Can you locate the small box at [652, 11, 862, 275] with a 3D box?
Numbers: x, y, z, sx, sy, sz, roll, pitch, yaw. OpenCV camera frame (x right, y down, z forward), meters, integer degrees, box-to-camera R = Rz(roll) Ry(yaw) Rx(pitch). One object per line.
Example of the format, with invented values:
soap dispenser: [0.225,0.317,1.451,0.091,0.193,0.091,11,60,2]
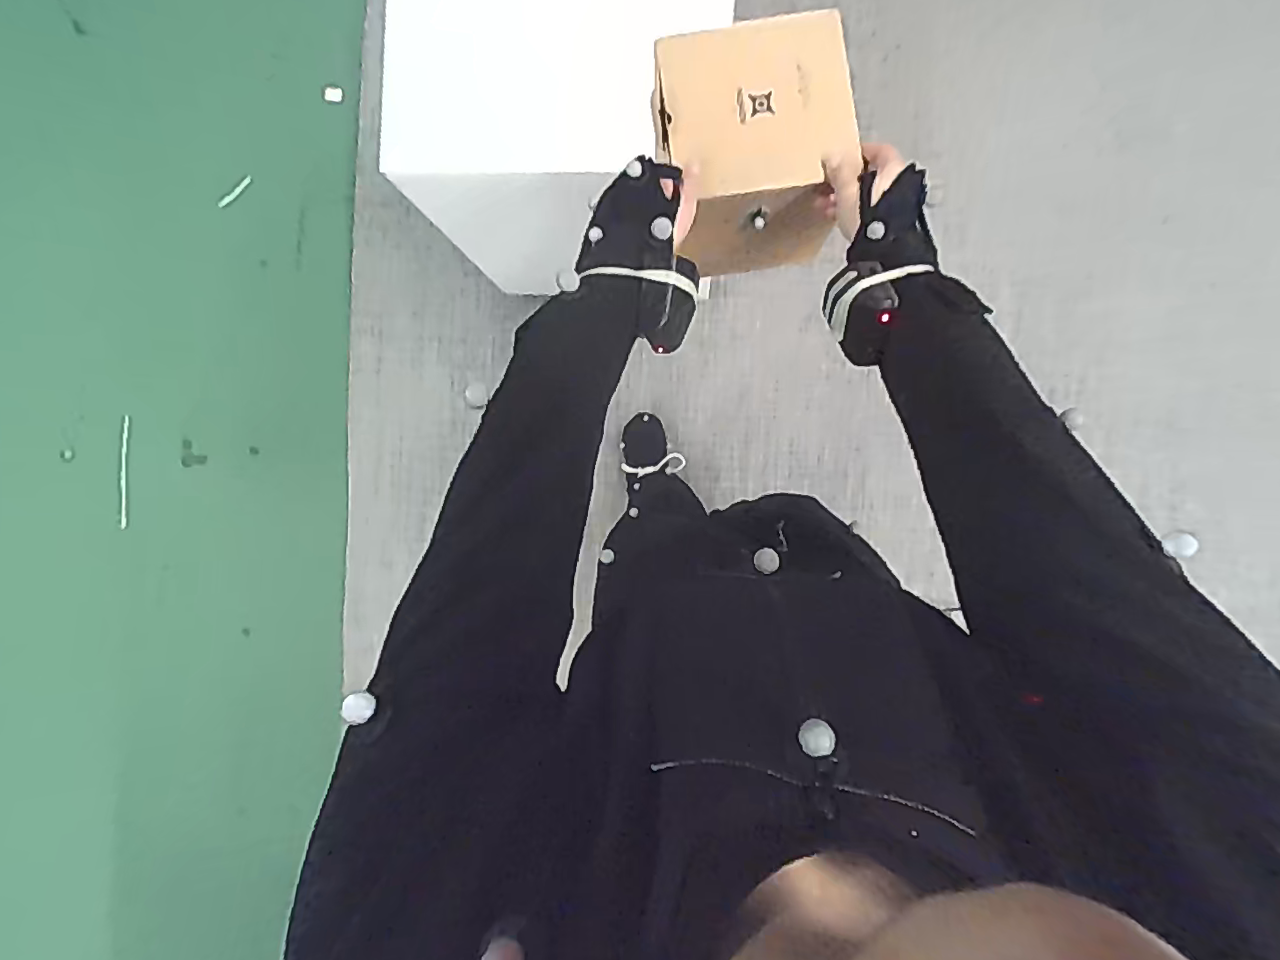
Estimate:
small box: [0.110,-0.337,0.576,0.179,0.176,0.168,-7,86,1]
